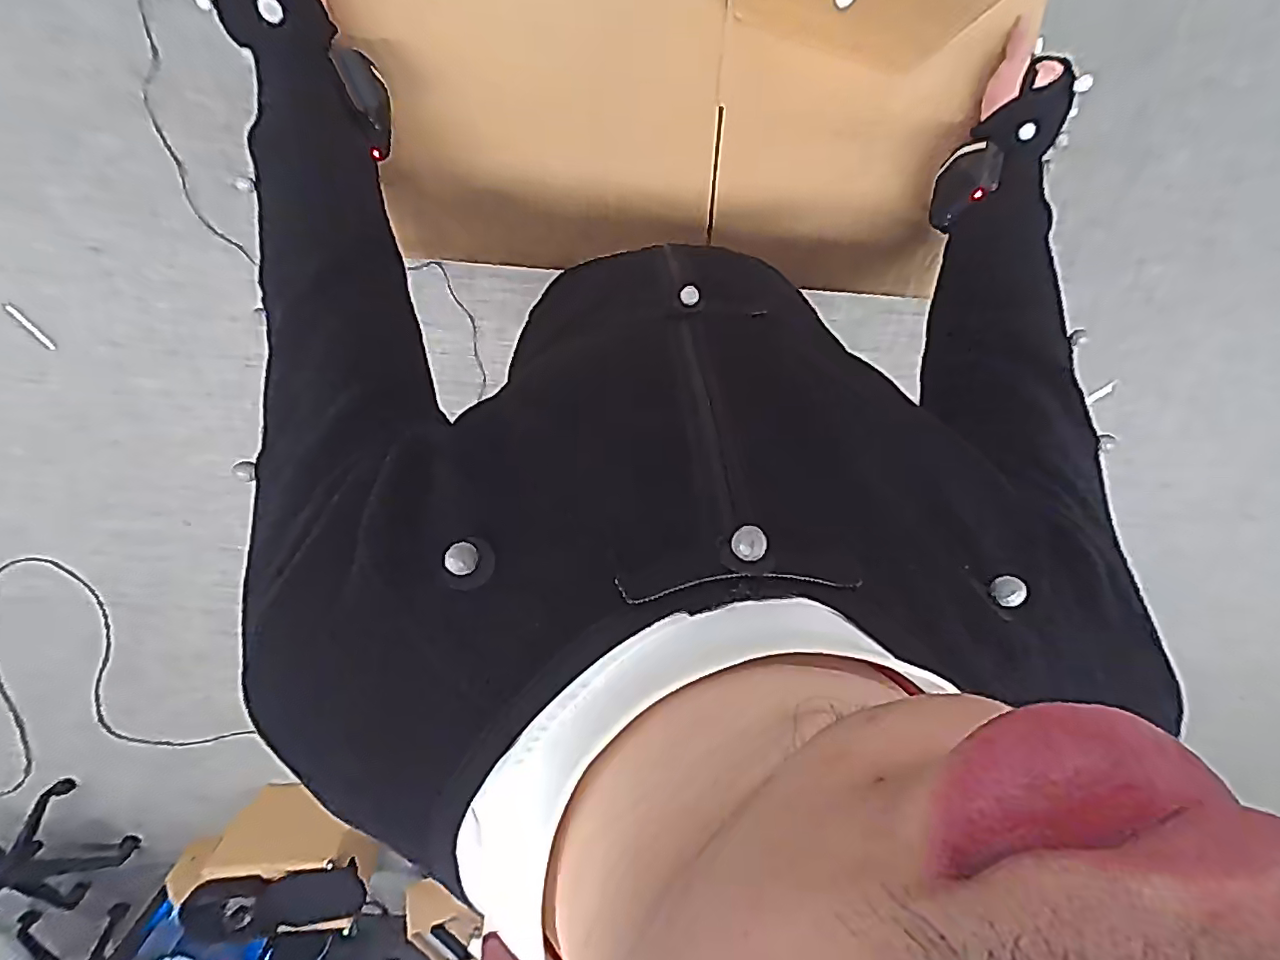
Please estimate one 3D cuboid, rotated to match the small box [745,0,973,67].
[{"bbox_3d":[0.196,-0.462,0.415,0.179,0.176,0.168,14,106,-6],"label":"small box"}]
